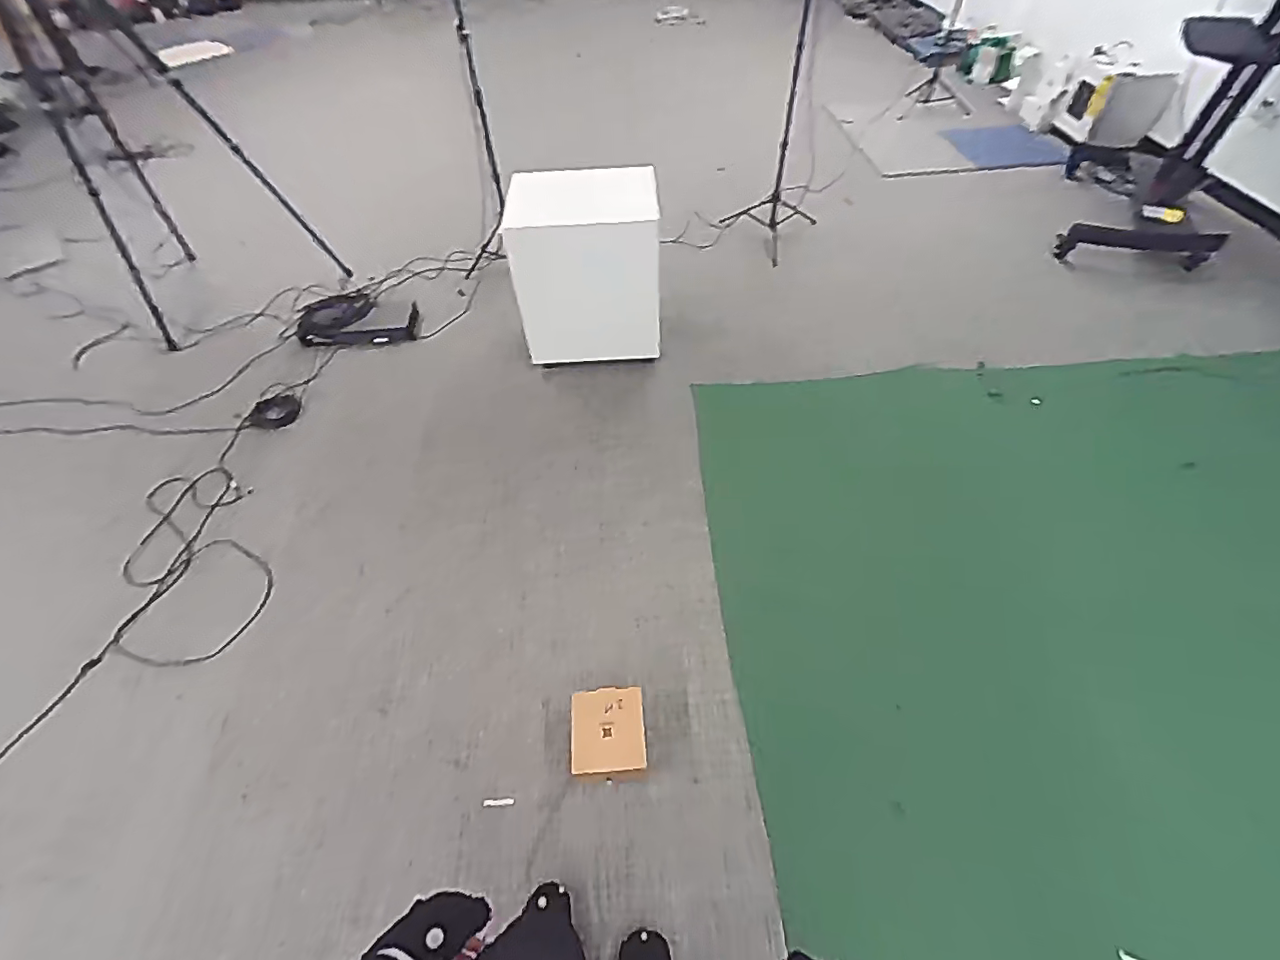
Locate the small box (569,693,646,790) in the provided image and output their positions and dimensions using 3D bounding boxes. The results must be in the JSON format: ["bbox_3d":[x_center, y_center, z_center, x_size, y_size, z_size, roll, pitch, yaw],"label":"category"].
[{"bbox_3d":[-0.074,0.619,1.270,0.168,0.176,0.179,-4,52,-2],"label":"small box"}]
